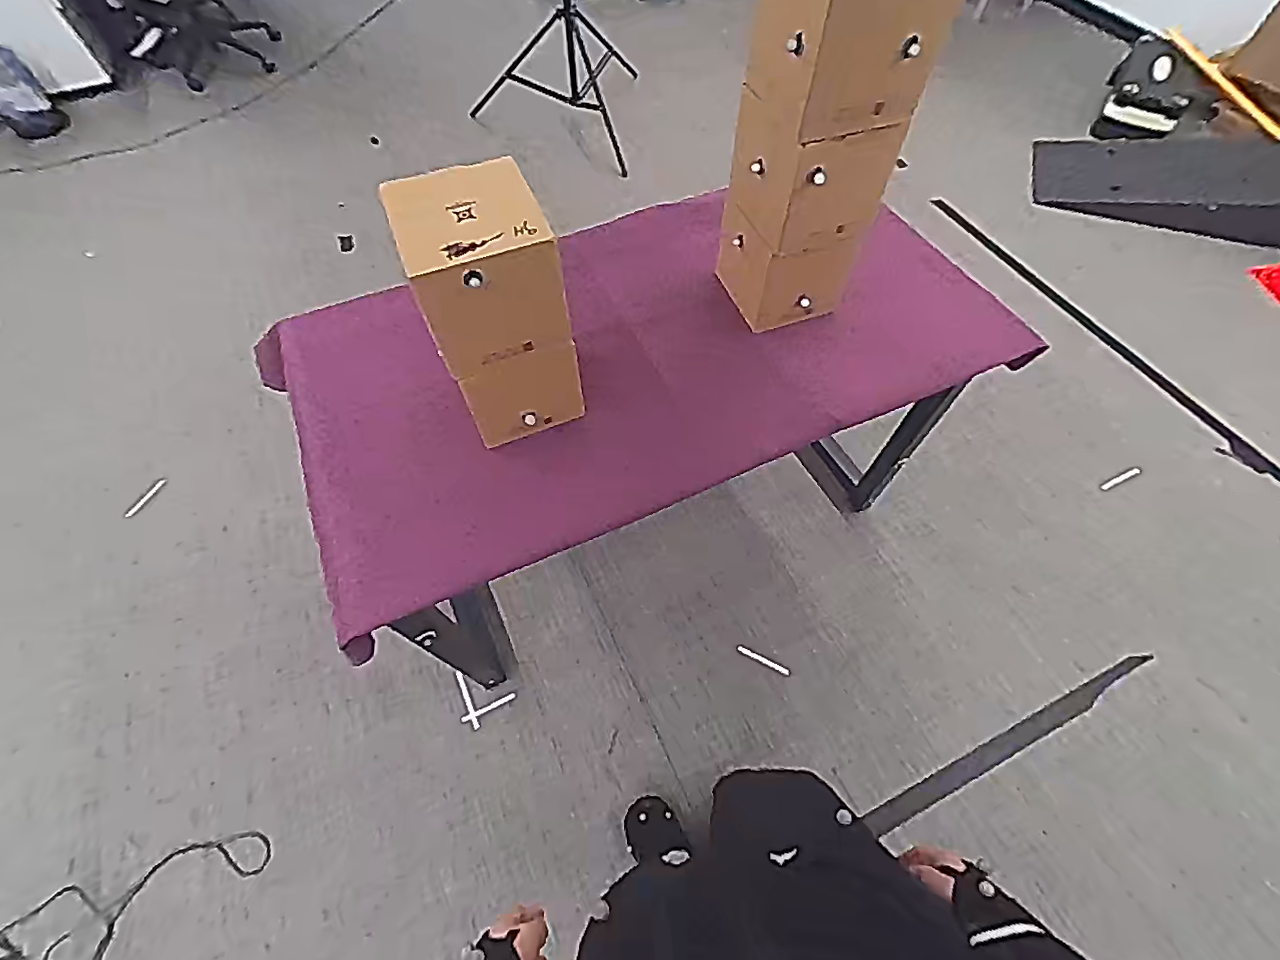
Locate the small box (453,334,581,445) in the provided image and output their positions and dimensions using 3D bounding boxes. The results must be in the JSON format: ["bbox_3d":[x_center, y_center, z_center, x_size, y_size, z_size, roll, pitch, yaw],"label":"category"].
[{"bbox_3d":[-0.199,-0.184,0.826,0.168,0.176,0.179,-21,63,-11],"label":"small box"}]

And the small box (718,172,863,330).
[{"bbox_3d":[0.248,-0.396,0.943,0.168,0.176,0.179,-18,62,-9],"label":"small box"}]

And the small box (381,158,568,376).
[{"bbox_3d":[-0.200,-0.264,0.683,0.168,0.176,0.179,-21,62,-11],"label":"small box"}]

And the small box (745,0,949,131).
[{"bbox_3d":[0.244,-0.550,0.655,0.168,0.176,0.179,-16,60,-9],"label":"small box"}]
